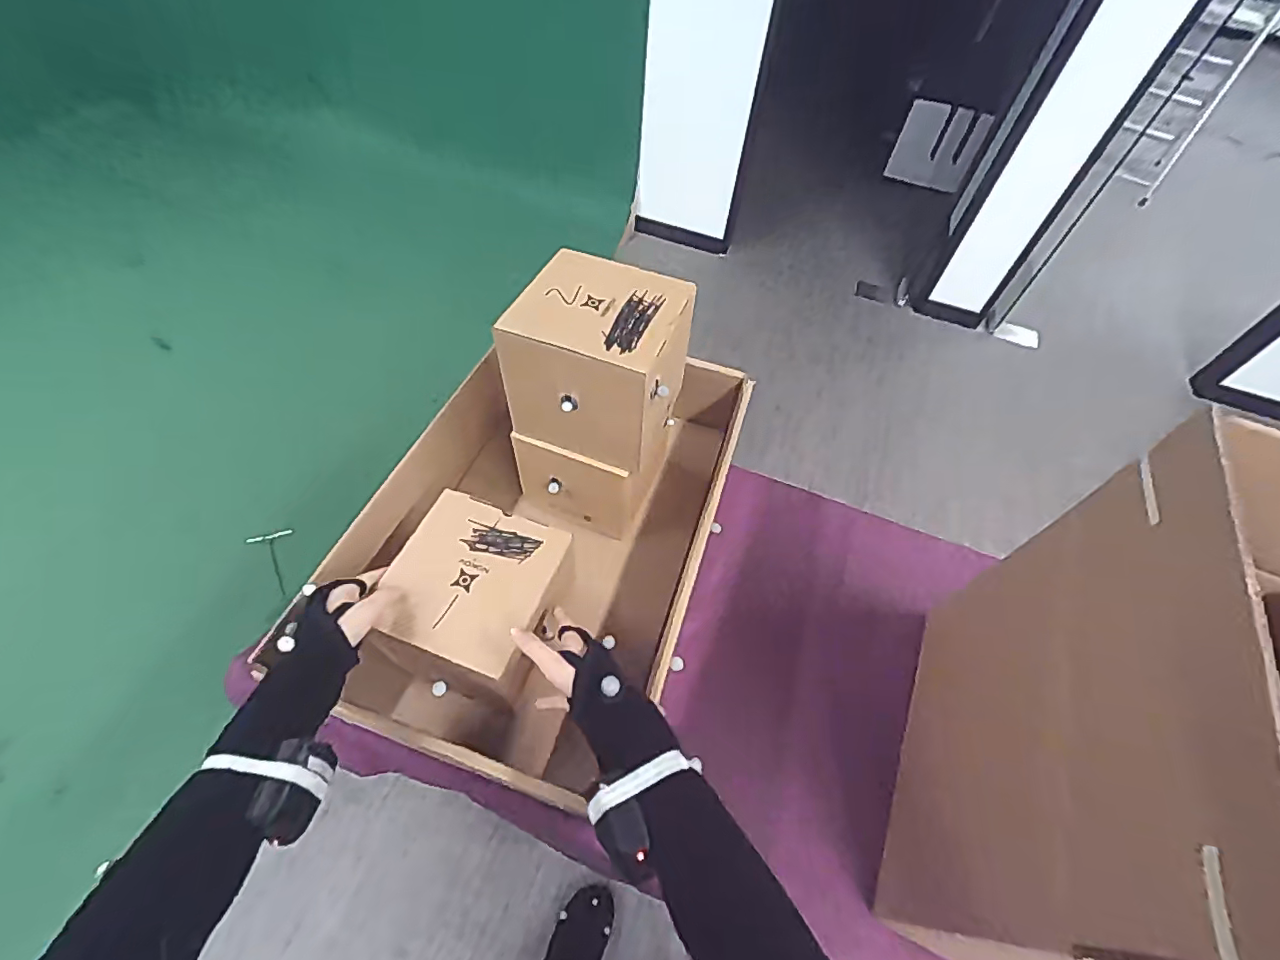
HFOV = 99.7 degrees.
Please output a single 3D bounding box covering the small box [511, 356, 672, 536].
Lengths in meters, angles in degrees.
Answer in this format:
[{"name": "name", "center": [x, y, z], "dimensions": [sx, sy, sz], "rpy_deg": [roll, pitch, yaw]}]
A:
[{"name": "small box", "center": [-0.063, -0.045, 0.792], "dimensions": [0.168, 0.176, 0.179], "rpy_deg": [20, 56, 10]}]
